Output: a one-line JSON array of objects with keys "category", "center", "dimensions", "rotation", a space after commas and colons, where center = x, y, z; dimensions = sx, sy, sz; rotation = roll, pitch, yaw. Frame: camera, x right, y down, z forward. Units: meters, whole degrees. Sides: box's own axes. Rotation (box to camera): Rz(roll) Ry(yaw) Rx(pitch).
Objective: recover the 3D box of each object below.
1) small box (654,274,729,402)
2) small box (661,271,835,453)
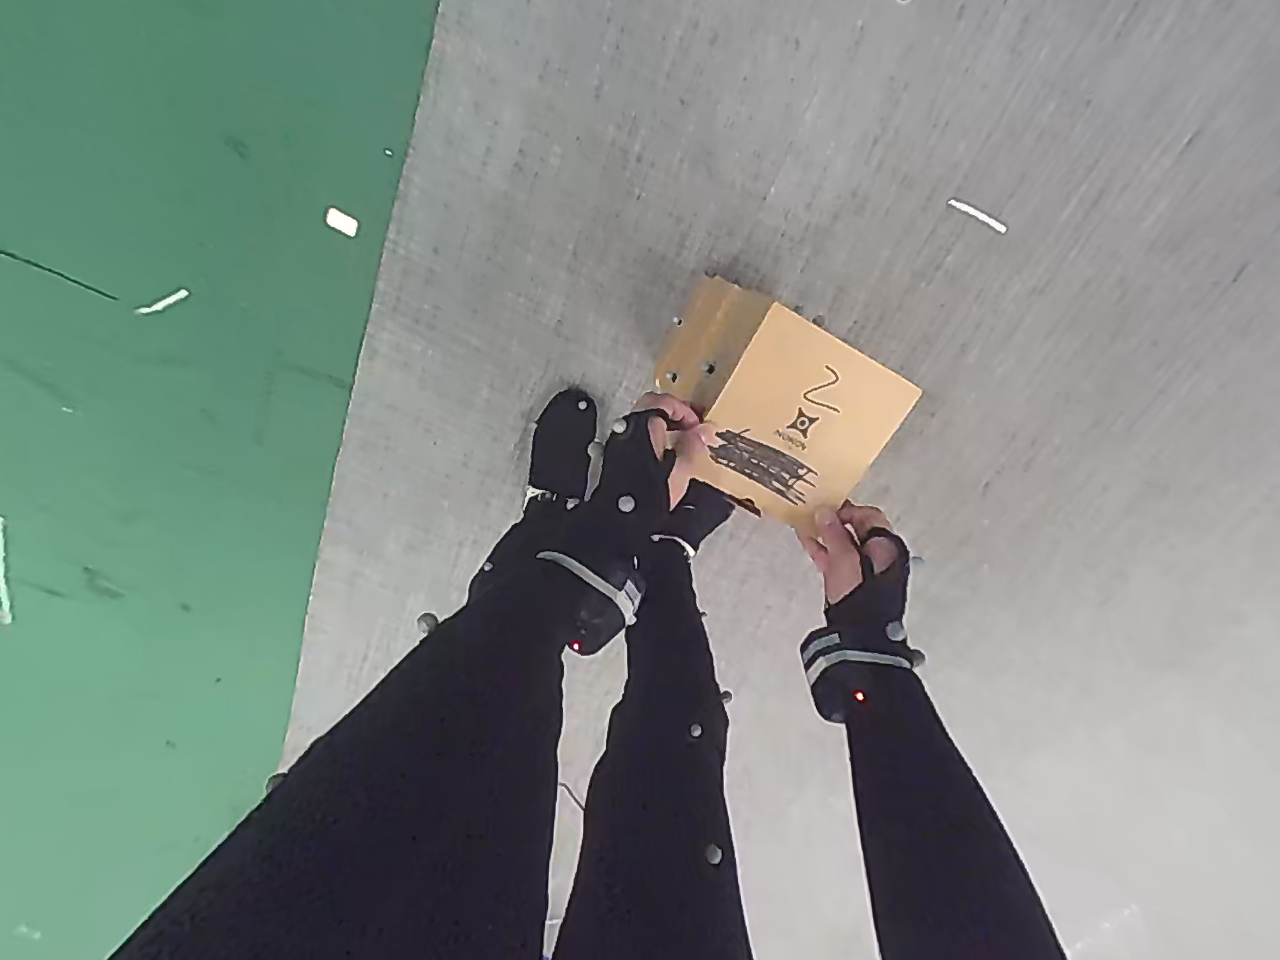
[{"category": "small box", "center": [0.136, -0.219, 0.893], "dimensions": [0.168, 0.176, 0.179], "rotation": [27, 112, -11]}, {"category": "small box", "center": [0.139, -0.170, 0.746], "dimensions": [0.168, 0.176, 0.179], "rotation": [-27, 111, 15]}]
